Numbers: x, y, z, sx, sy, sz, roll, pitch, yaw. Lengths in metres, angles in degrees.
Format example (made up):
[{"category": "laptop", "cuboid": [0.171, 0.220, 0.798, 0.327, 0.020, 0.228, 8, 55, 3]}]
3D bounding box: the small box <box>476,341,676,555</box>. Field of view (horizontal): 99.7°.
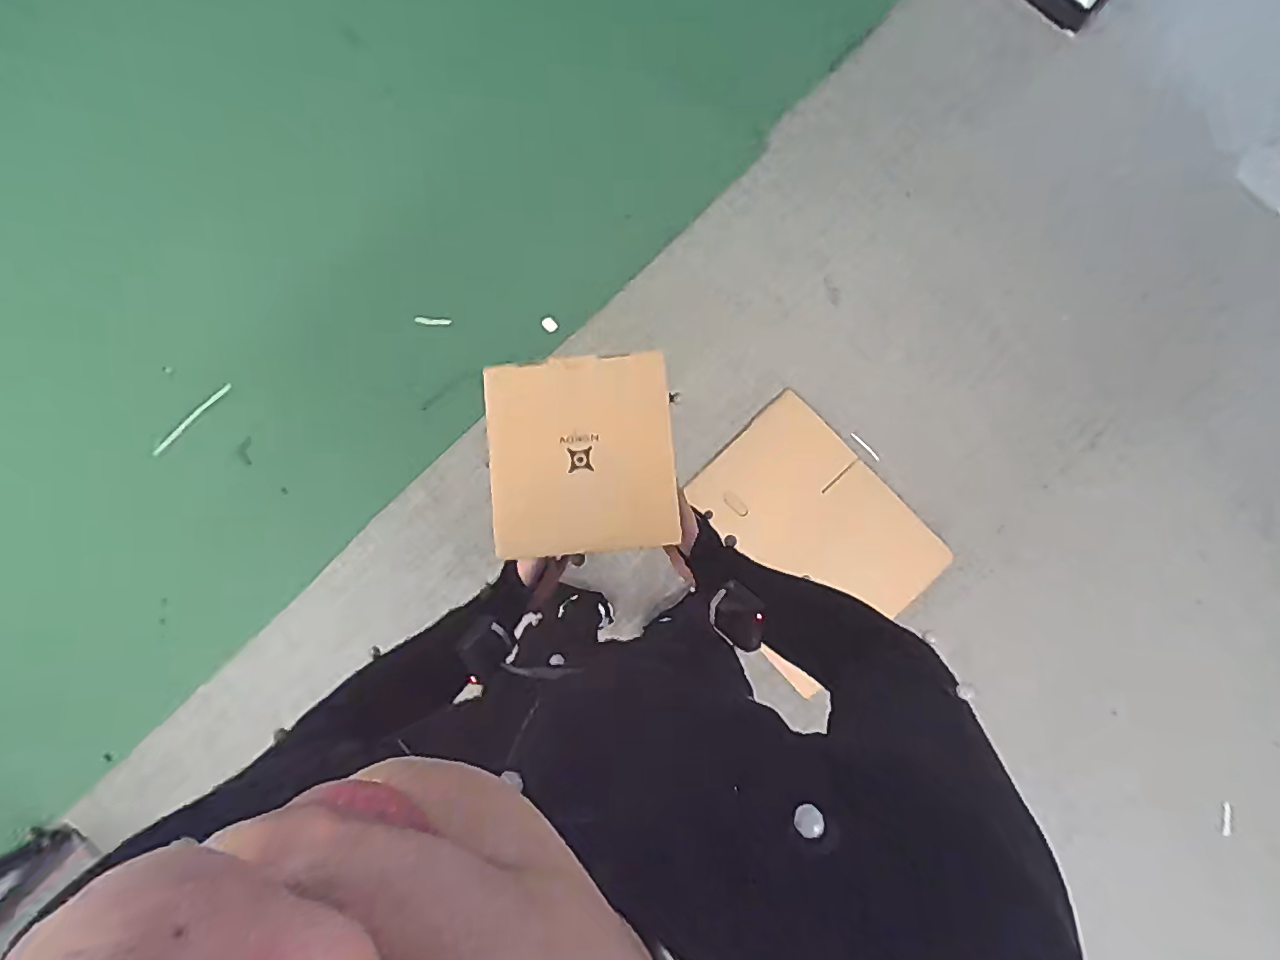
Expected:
[{"category": "small box", "cuboid": [-0.052, -0.023, 0.545, 0.168, 0.176, 0.179, -6, 85, 3]}]
